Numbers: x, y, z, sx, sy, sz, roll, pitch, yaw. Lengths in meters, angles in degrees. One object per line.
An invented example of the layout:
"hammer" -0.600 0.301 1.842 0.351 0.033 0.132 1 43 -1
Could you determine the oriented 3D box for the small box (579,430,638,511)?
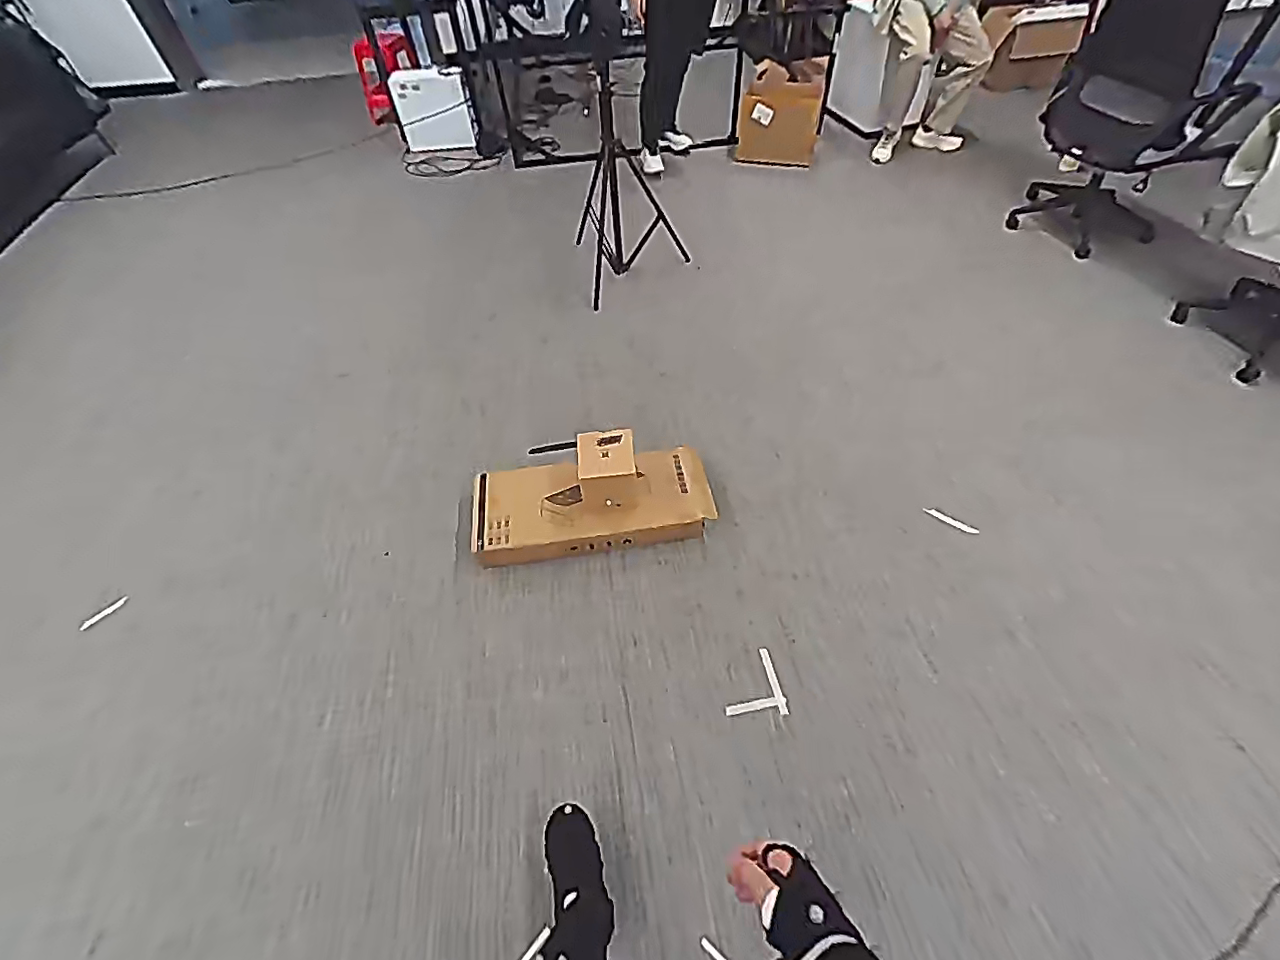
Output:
"small box" -0.095 -0.027 1.647 0.168 0.176 0.179 -6 52 -1
